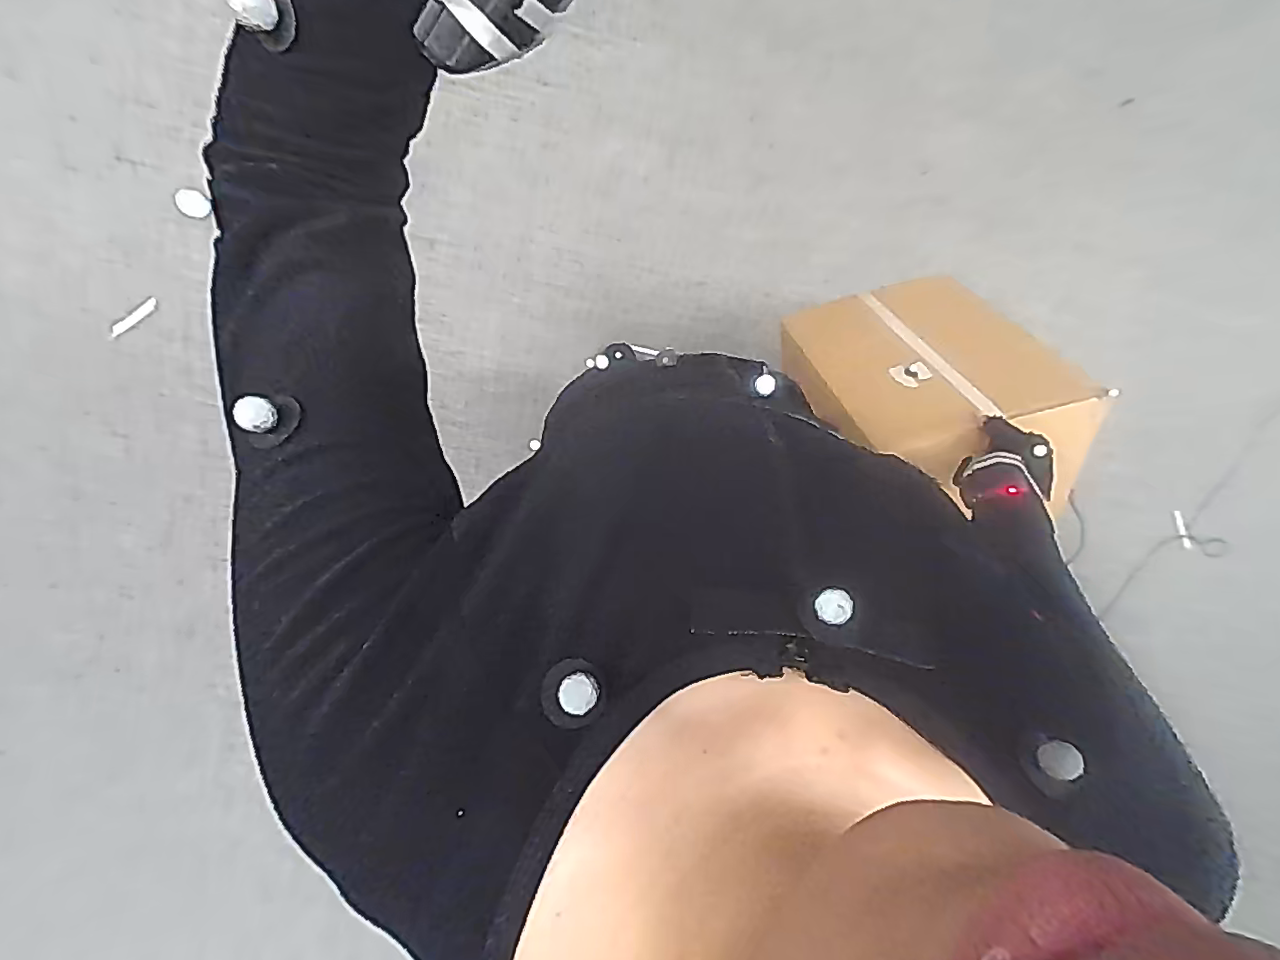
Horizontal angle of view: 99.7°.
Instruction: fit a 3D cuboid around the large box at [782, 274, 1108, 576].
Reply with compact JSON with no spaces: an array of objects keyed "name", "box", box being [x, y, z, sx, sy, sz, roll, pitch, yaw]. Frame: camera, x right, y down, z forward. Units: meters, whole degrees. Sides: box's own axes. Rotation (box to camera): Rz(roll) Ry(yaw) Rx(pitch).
[{"name":"large box","box":[0.466,-0.104,0.957,0.320,0.408,0.320,-15,134,3]}]
